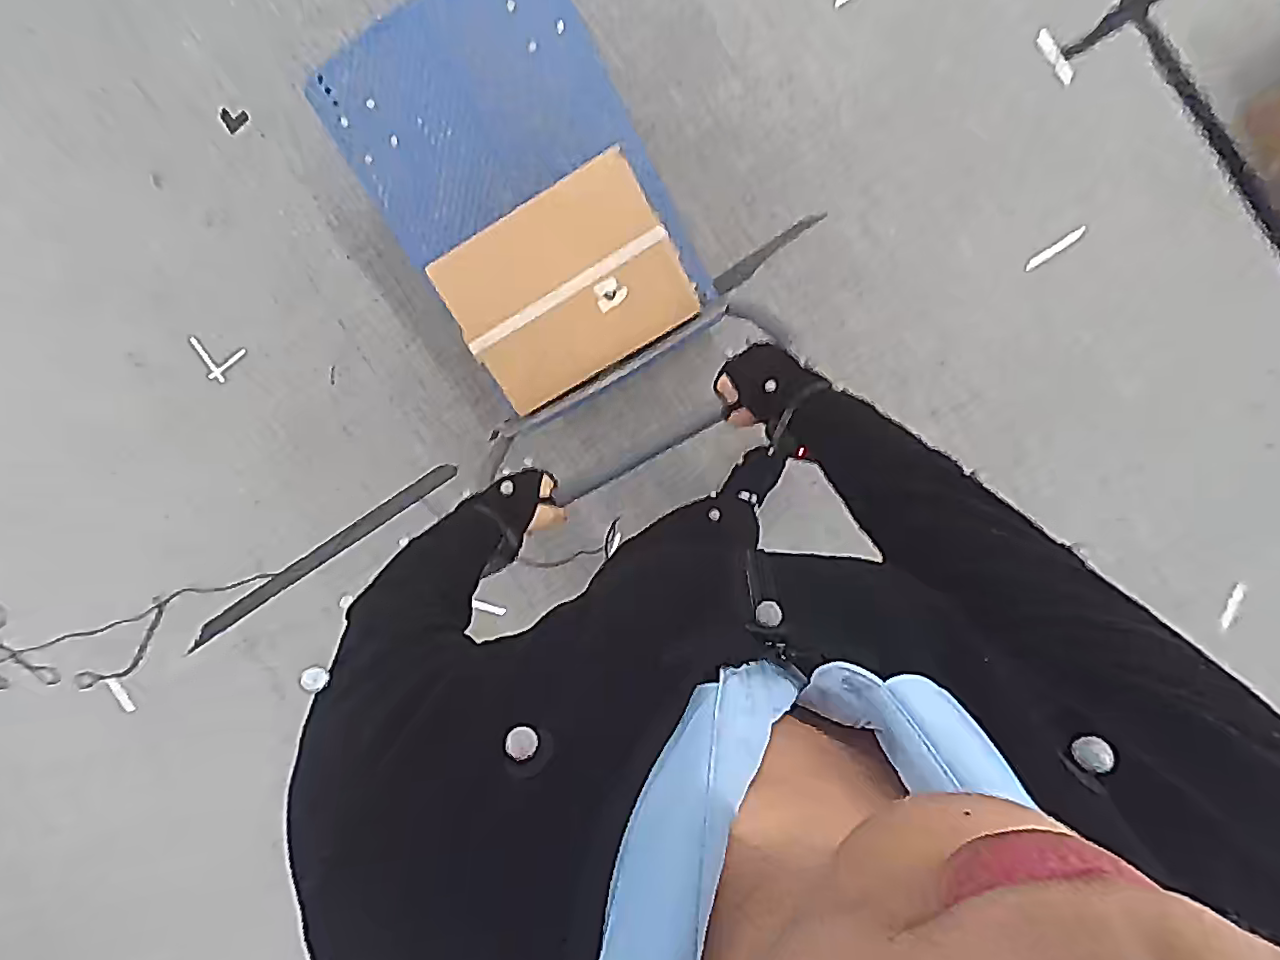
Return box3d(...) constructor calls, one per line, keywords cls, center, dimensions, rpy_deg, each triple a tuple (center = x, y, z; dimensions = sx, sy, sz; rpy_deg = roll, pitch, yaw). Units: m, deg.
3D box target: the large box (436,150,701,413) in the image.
box3d(cls="large box", center=(-0.137, -0.391, 1.140), dimensions=(0.408, 0.320, 0.320), rpy_deg=(-30, 107, 6))
